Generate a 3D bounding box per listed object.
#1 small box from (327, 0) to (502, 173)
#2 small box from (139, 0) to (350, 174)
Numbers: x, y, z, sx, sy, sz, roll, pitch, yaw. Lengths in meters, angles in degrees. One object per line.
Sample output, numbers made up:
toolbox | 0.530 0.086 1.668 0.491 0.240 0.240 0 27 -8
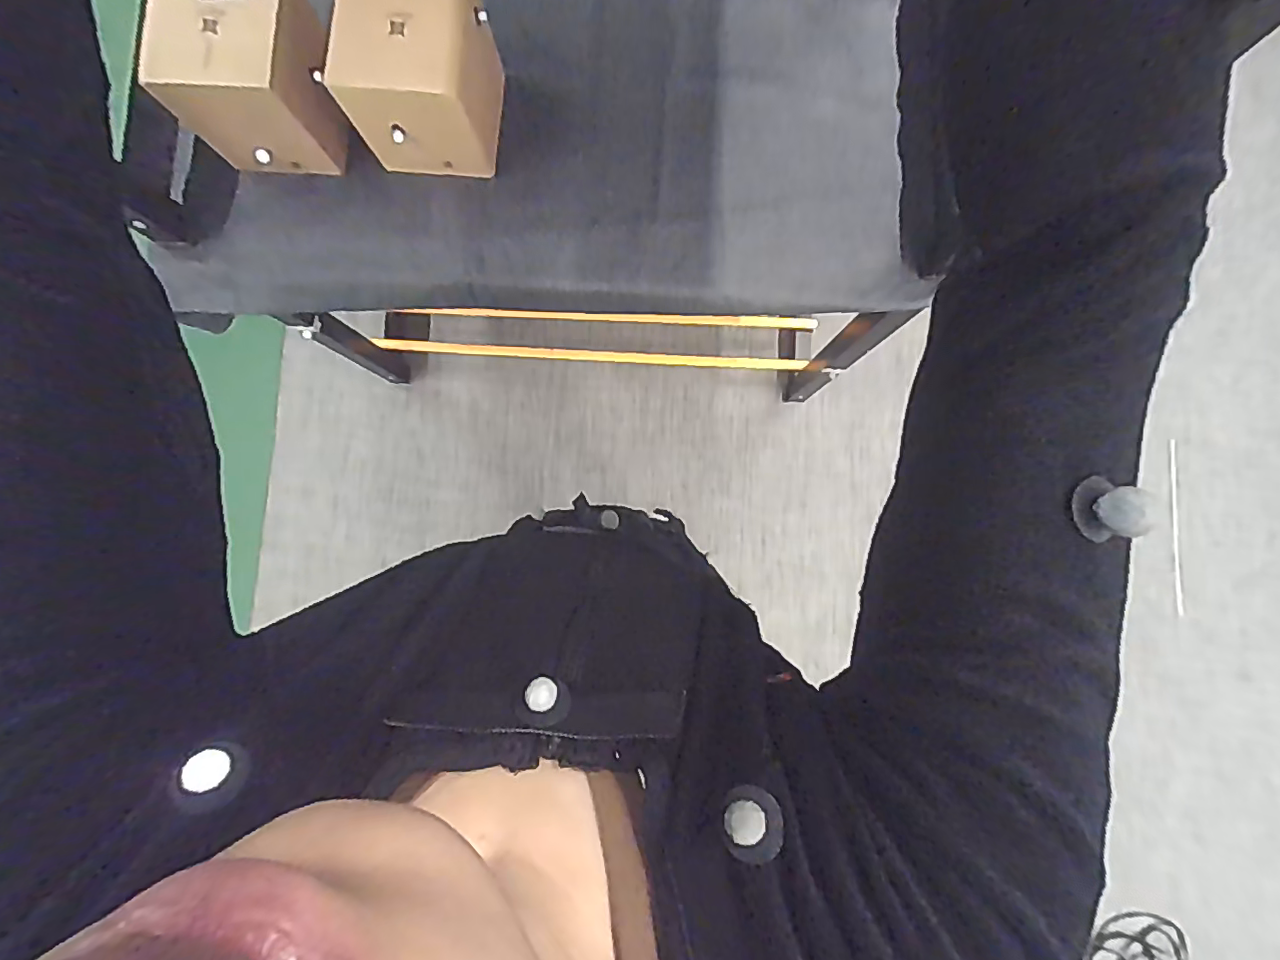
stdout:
small box | -0.298 -0.559 0.749 0.168 0.176 0.179 4 85 0
small box | -0.525 -0.563 0.747 0.168 0.176 0.179 3 85 0
